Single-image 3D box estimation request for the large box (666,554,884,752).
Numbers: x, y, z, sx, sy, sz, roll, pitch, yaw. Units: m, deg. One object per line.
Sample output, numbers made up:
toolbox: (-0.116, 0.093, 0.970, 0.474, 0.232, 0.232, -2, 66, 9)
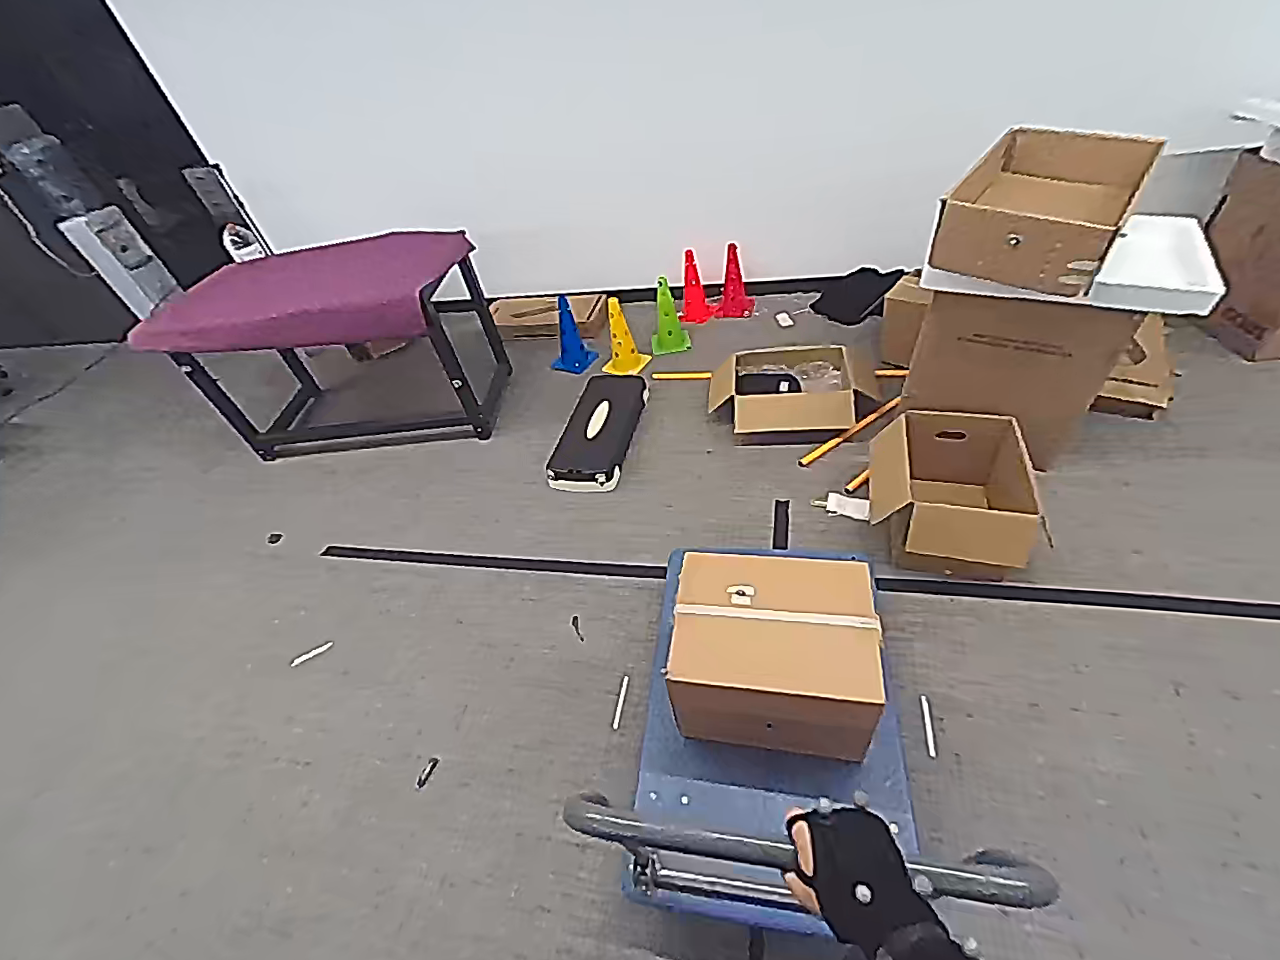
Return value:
large box: (0.293, 0.382, 1.209, 0.408, 0.320, 0.320, 0, 45, 14)
